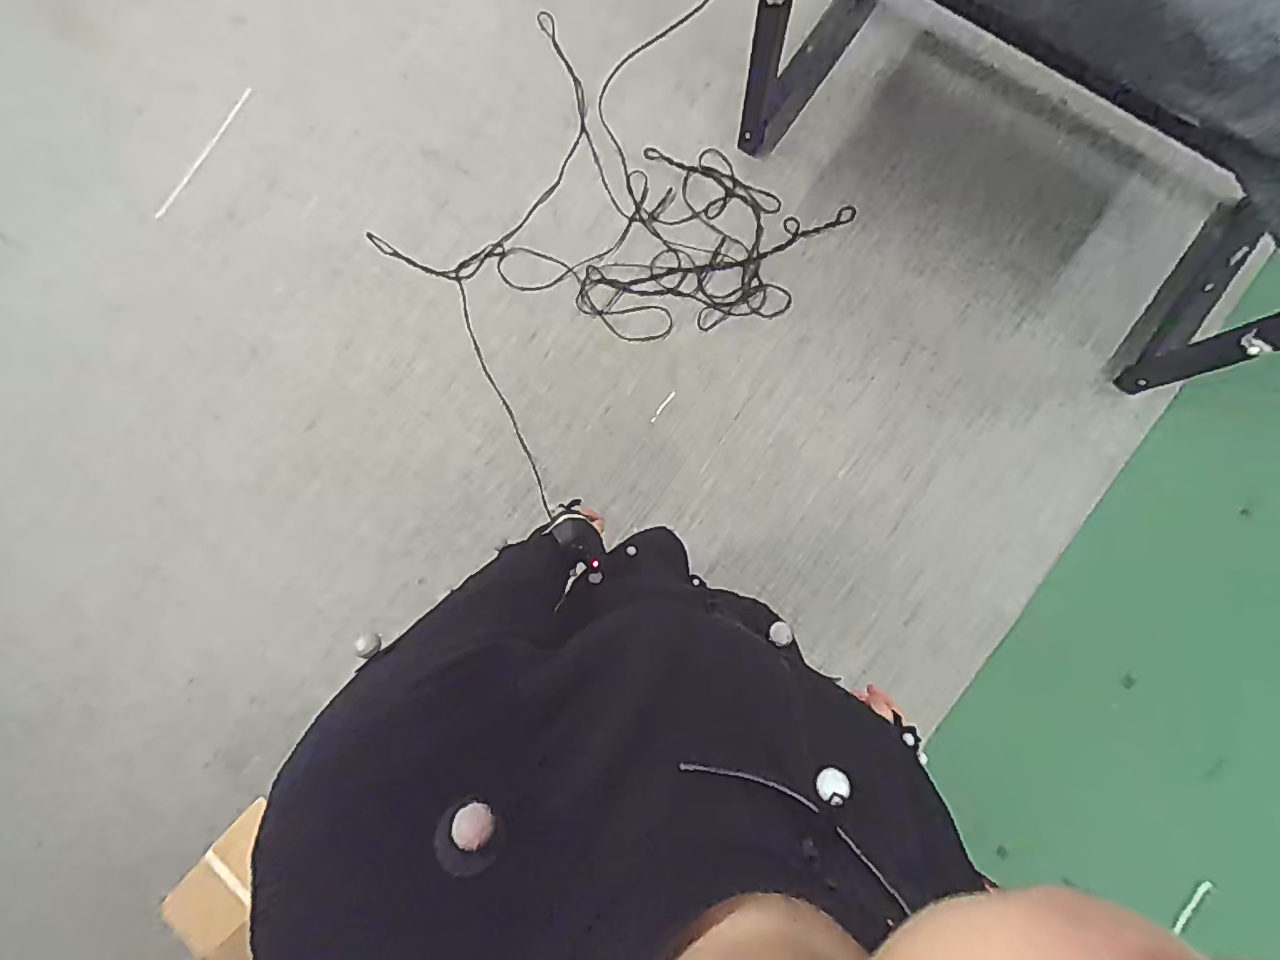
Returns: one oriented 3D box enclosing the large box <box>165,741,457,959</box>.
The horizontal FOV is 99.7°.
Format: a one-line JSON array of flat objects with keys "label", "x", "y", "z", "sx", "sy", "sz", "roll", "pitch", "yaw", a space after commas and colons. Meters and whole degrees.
[{"label": "large box", "x": -0.705, "y": 0.893, "z": 1.218, "sx": 0.408, "sy": 0.320, "sz": 0.320, "roll": 43, "pitch": 89, "yaw": 8}]
